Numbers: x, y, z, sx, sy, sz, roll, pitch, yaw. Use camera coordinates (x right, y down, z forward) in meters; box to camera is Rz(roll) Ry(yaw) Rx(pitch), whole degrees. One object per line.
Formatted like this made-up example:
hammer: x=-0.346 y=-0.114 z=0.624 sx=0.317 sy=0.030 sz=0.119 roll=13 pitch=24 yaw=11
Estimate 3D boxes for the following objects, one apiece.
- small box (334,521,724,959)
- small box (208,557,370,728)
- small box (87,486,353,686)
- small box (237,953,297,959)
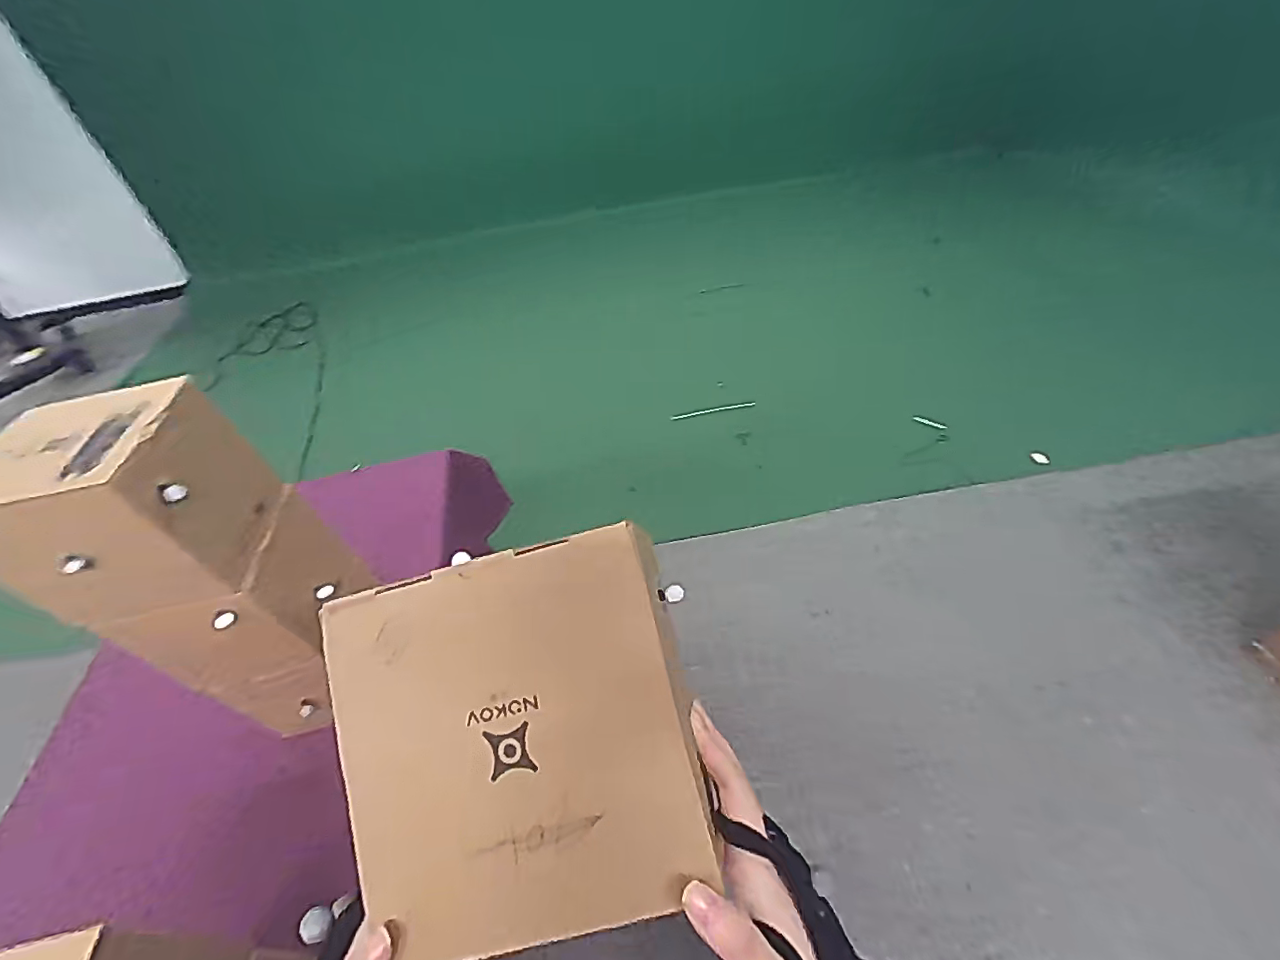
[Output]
small box: x=-0.053 y=0.134 z=0.338 sx=0.168 sy=0.176 sz=0.179 roll=-14 pitch=81 yaw=3
small box: x=-0.475 y=0.247 z=0.803 sx=0.168 sy=0.176 sz=0.179 roll=-13 pitch=46 yaw=-3
small box: x=-0.504 y=0.137 z=0.685 sx=0.179 sy=0.176 sz=0.168 roll=-12 pitch=45 yaw=-2
small box: x=-0.403 y=0.554 z=0.486 sx=0.179 sy=0.176 sz=0.168 roll=-13 pitch=44 yaw=-2
